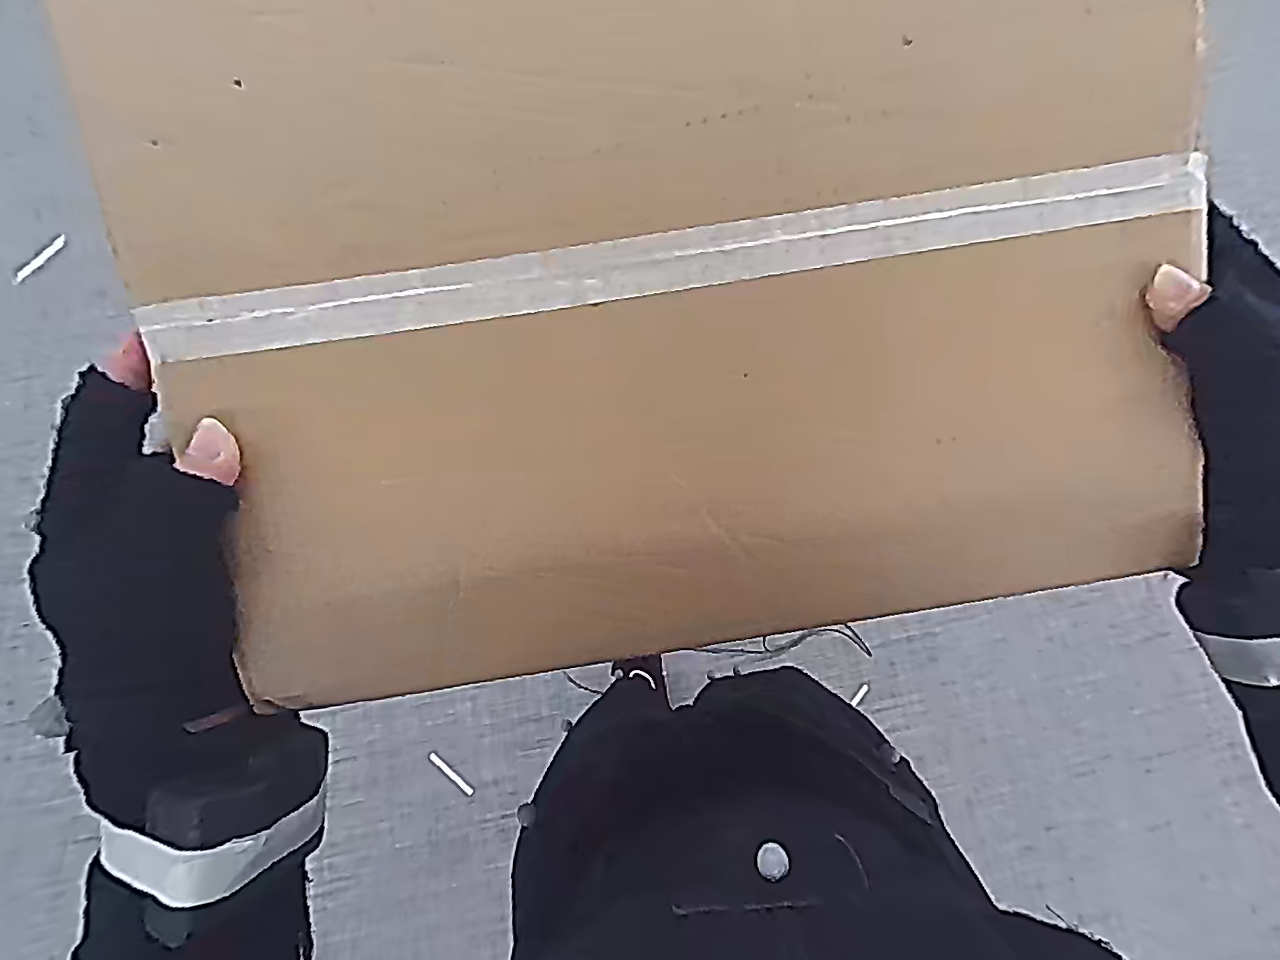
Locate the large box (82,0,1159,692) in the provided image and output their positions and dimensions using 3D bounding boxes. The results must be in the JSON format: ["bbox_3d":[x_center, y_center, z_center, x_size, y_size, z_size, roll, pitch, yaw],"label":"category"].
[{"bbox_3d":[0.008,-0.110,0.365,0.408,0.320,0.320,-9,99,-2],"label":"large box"}]
